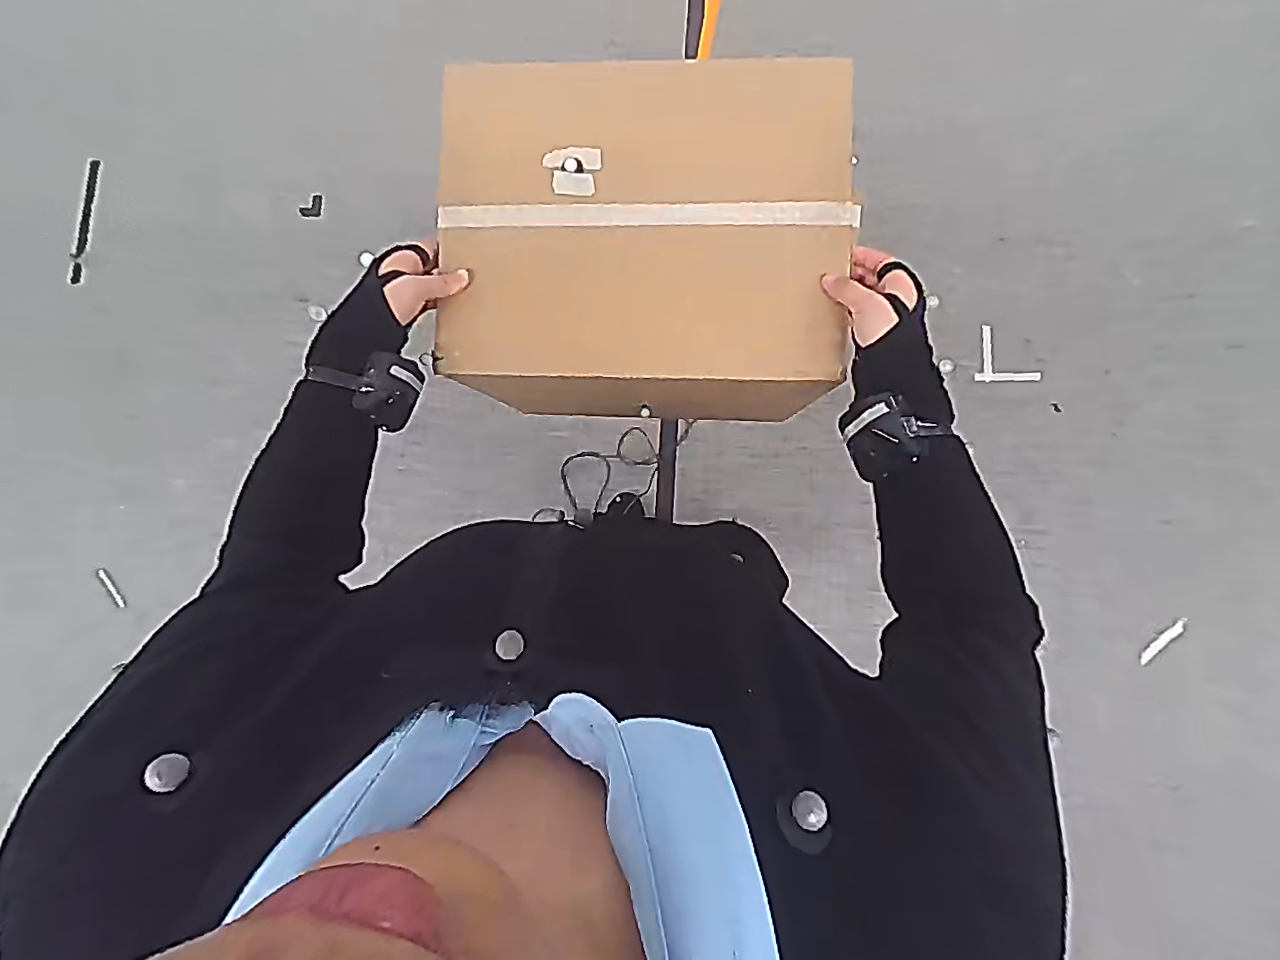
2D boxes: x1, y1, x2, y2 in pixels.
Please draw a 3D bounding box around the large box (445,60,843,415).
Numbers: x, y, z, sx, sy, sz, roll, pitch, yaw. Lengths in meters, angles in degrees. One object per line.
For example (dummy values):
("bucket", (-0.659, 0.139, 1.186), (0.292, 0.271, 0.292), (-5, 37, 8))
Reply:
("large box", (0.014, -0.254, 0.688), (0.408, 0.320, 0.320), (1, 88, 5))
